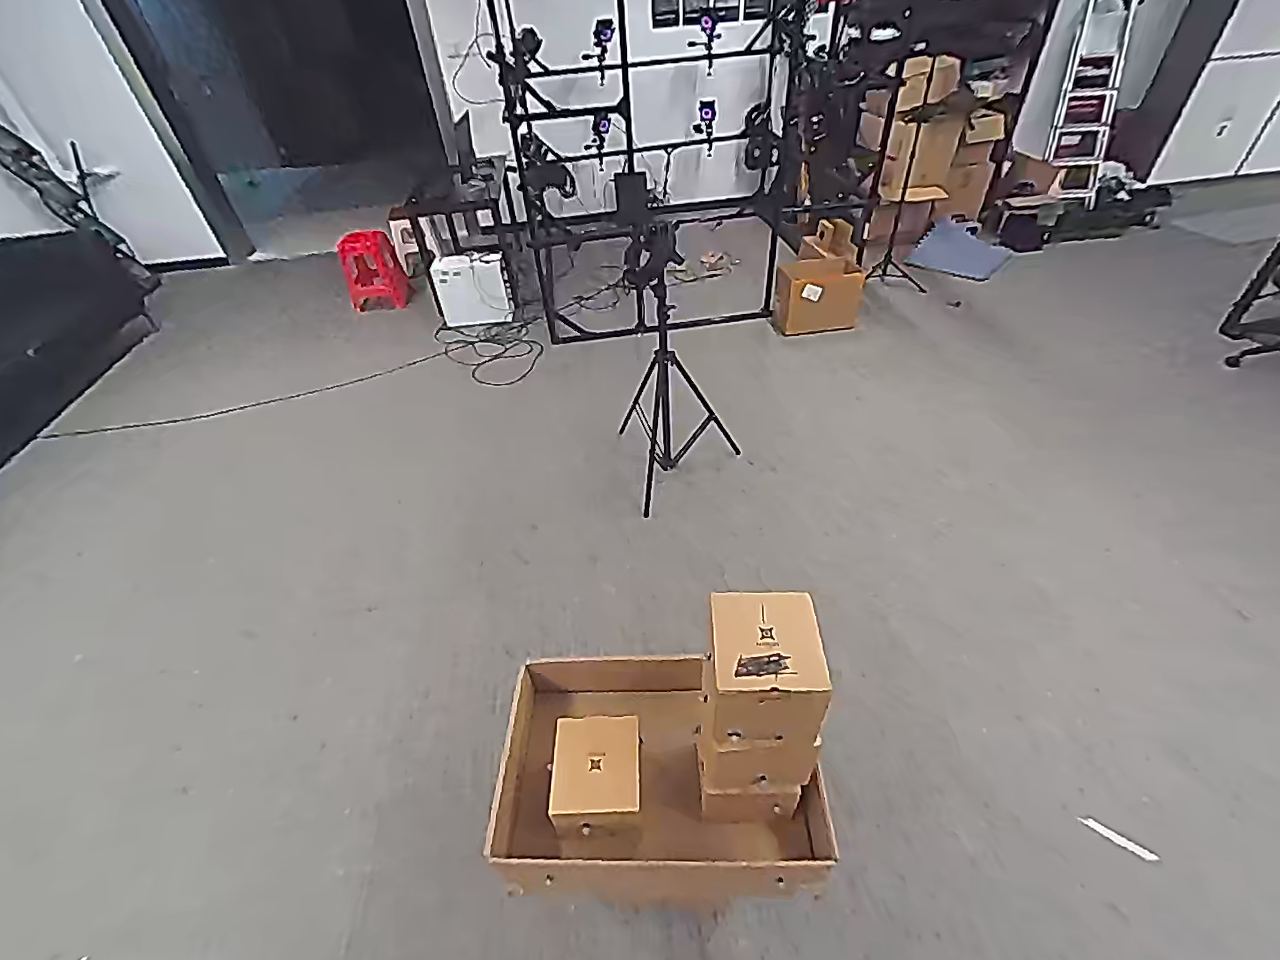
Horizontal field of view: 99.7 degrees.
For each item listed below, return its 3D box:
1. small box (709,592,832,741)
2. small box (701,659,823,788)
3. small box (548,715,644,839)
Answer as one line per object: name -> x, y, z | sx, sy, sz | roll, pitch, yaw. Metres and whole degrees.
small box -> 0.198, 0.302, 0.873 | 0.168, 0.176, 0.179 | -1, 41, 4
small box -> 0.207, 0.435, 0.970 | 0.179, 0.176, 0.168 | -3, 41, 1
small box -> -0.079, 0.591, 1.070 | 0.168, 0.176, 0.179 | -3, 41, 1
